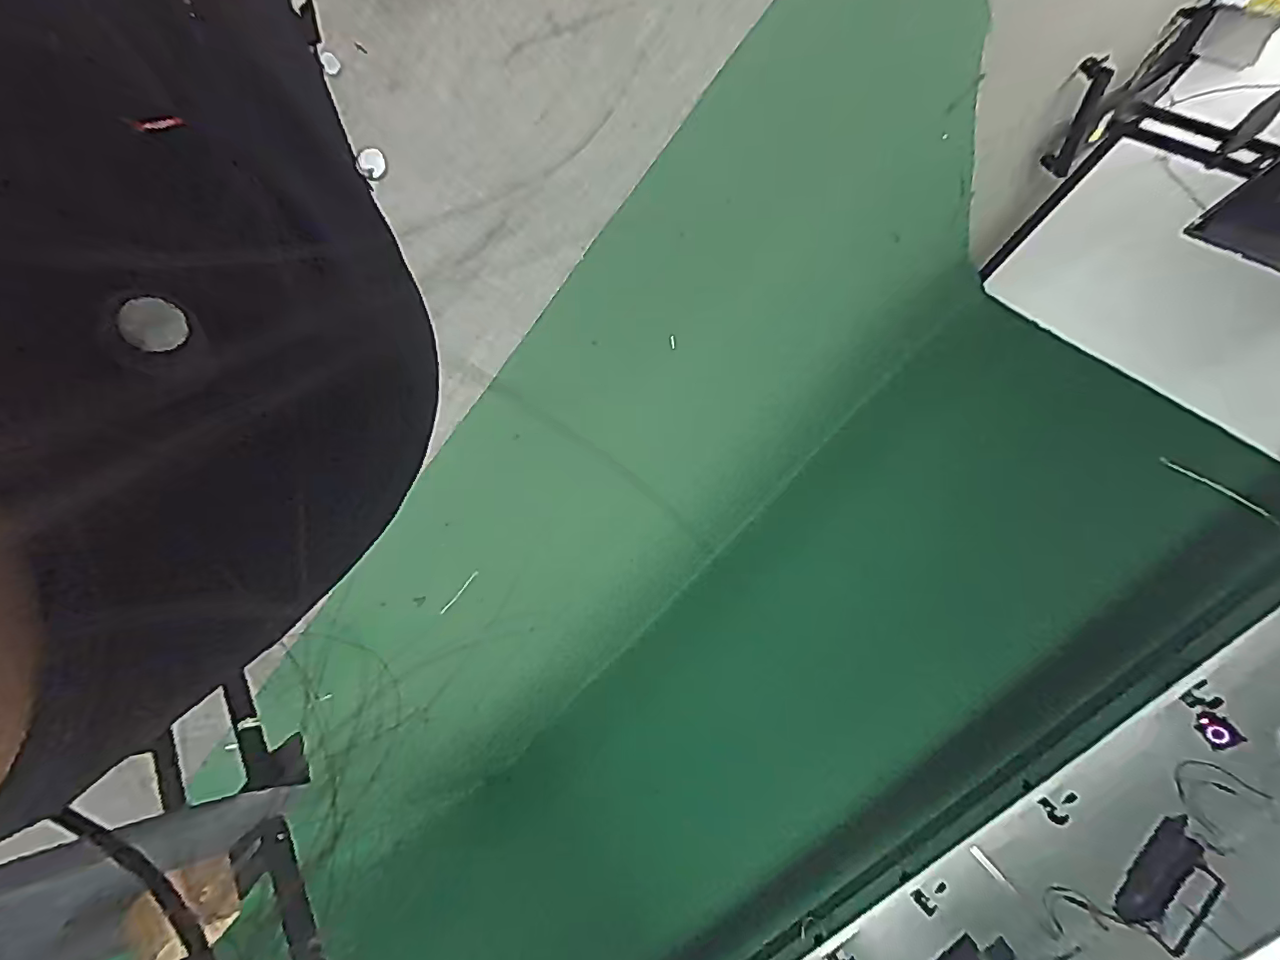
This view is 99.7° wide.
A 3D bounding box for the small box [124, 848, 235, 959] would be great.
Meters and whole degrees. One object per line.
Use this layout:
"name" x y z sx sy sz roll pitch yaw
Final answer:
"small box" -1.229 1.121 1.439 0.179 0.176 0.168 -47 151 12
